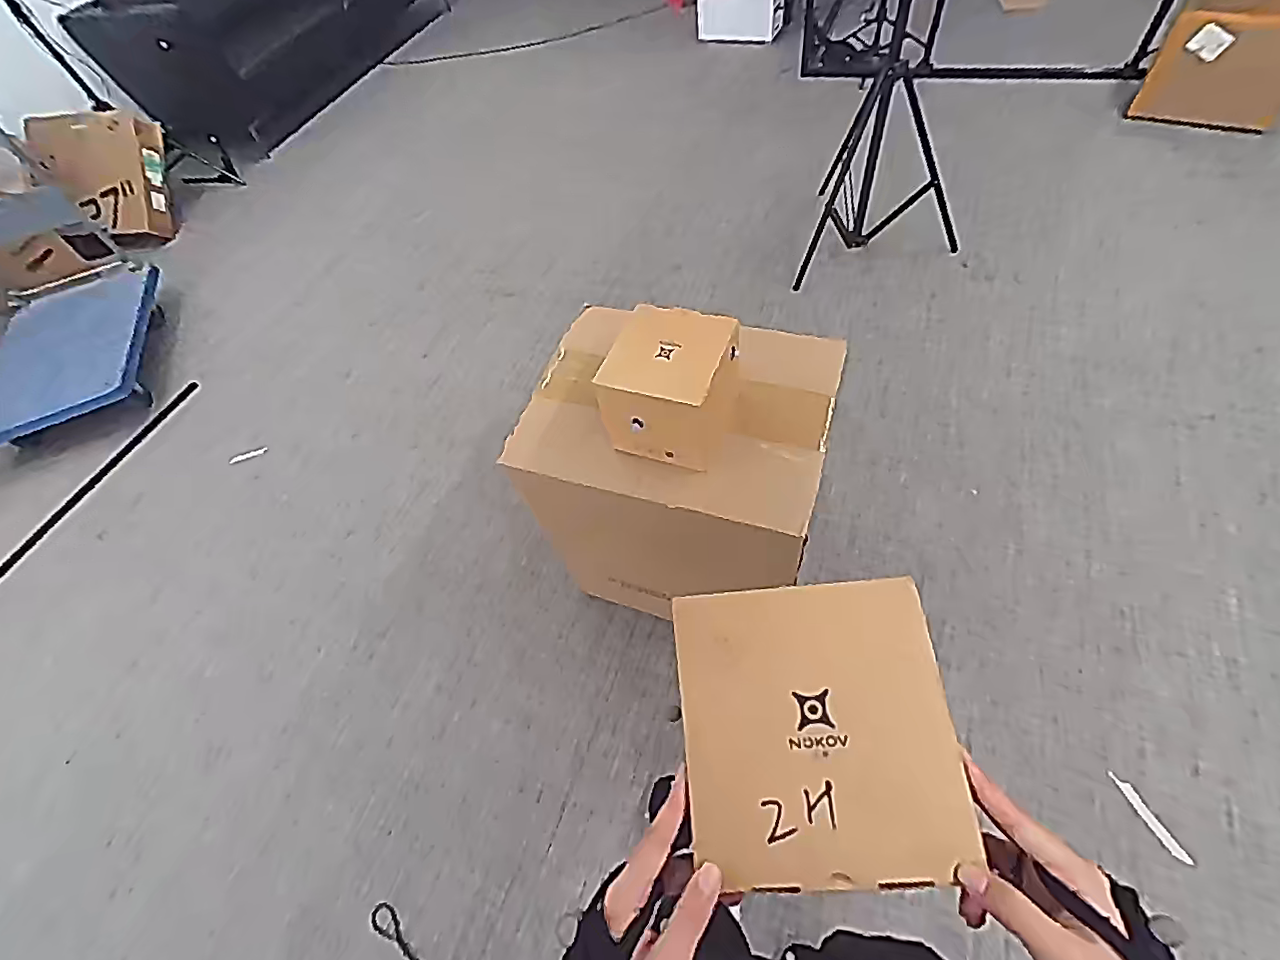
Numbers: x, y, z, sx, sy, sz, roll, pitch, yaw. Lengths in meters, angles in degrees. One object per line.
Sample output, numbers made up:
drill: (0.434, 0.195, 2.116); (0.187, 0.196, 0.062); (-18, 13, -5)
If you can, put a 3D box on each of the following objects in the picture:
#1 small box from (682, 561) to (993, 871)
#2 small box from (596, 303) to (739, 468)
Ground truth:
small box: (0.122, 0.171, 0.412); (0.168, 0.176, 0.179); (-6, 67, 7)
small box: (0.054, -0.144, 0.843); (0.168, 0.176, 0.179); (15, 60, 19)
